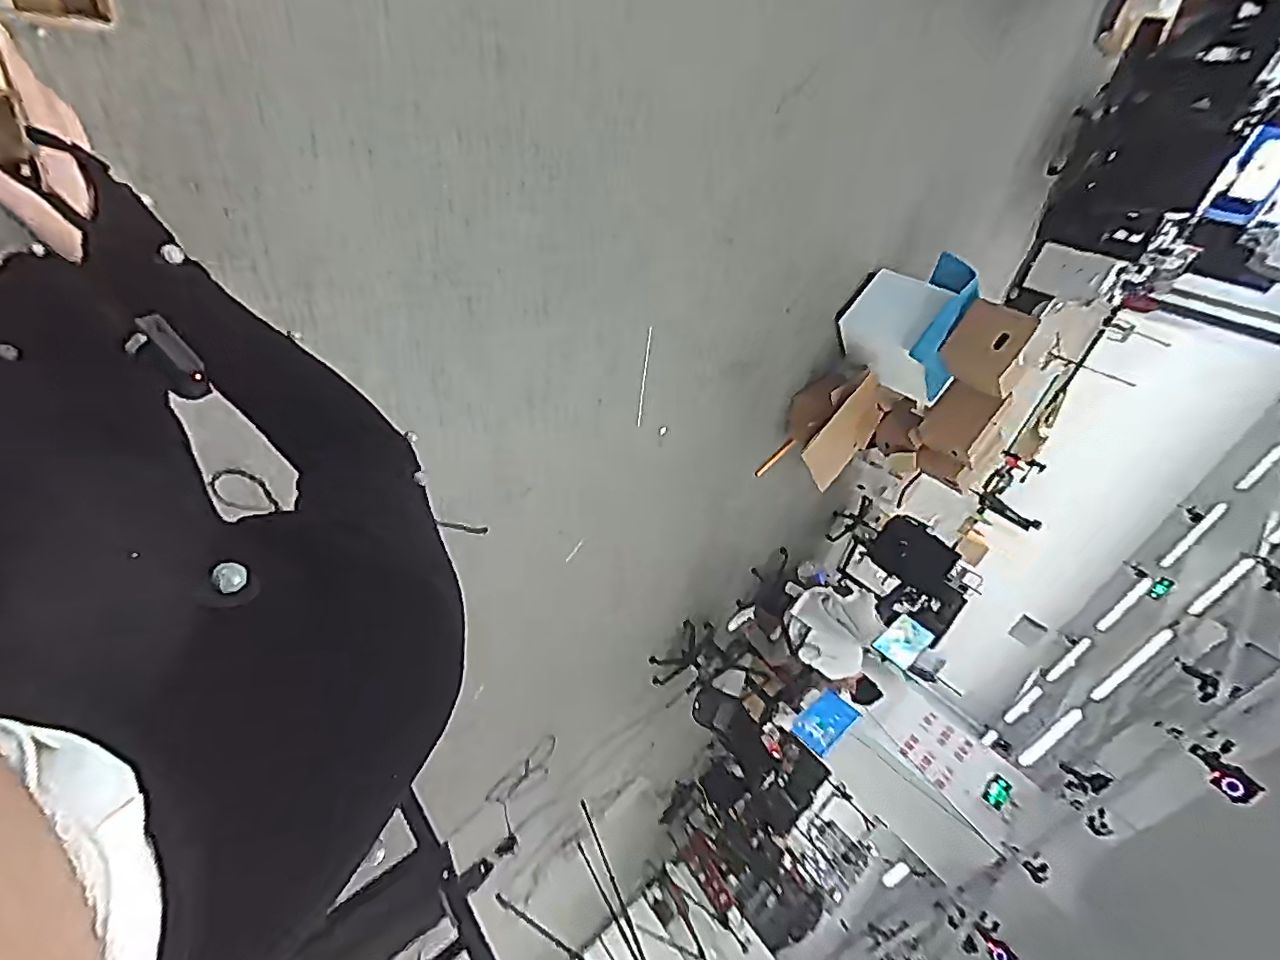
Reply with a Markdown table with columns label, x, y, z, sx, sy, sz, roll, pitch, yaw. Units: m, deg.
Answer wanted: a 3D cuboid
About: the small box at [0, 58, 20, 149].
| label | x | y | z | sx | sy | sz | roll | pitch | yaw |
| --- | --- | --- | --- | --- | --- | --- | --- | --- | --- |
| small box | -0.574 | -0.355 | 0.369 | 0.168 | 0.176 | 0.179 | -16 | 108 | -43 |
